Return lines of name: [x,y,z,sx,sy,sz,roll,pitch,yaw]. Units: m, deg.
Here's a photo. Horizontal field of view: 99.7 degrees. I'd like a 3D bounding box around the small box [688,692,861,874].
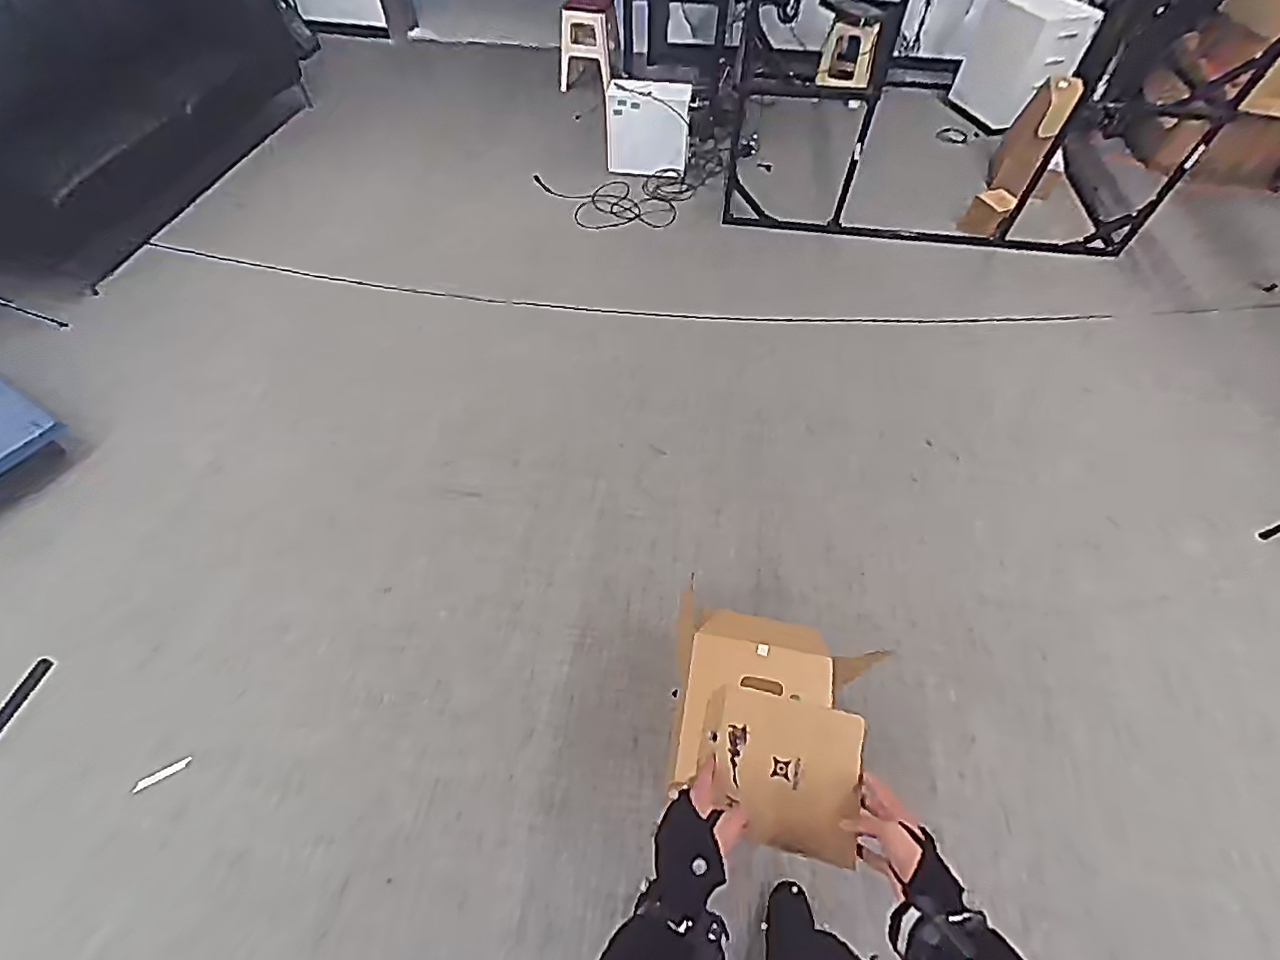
small box: [0.172,0.391,0.727,0.179,0.176,0.168,13,67,4]
